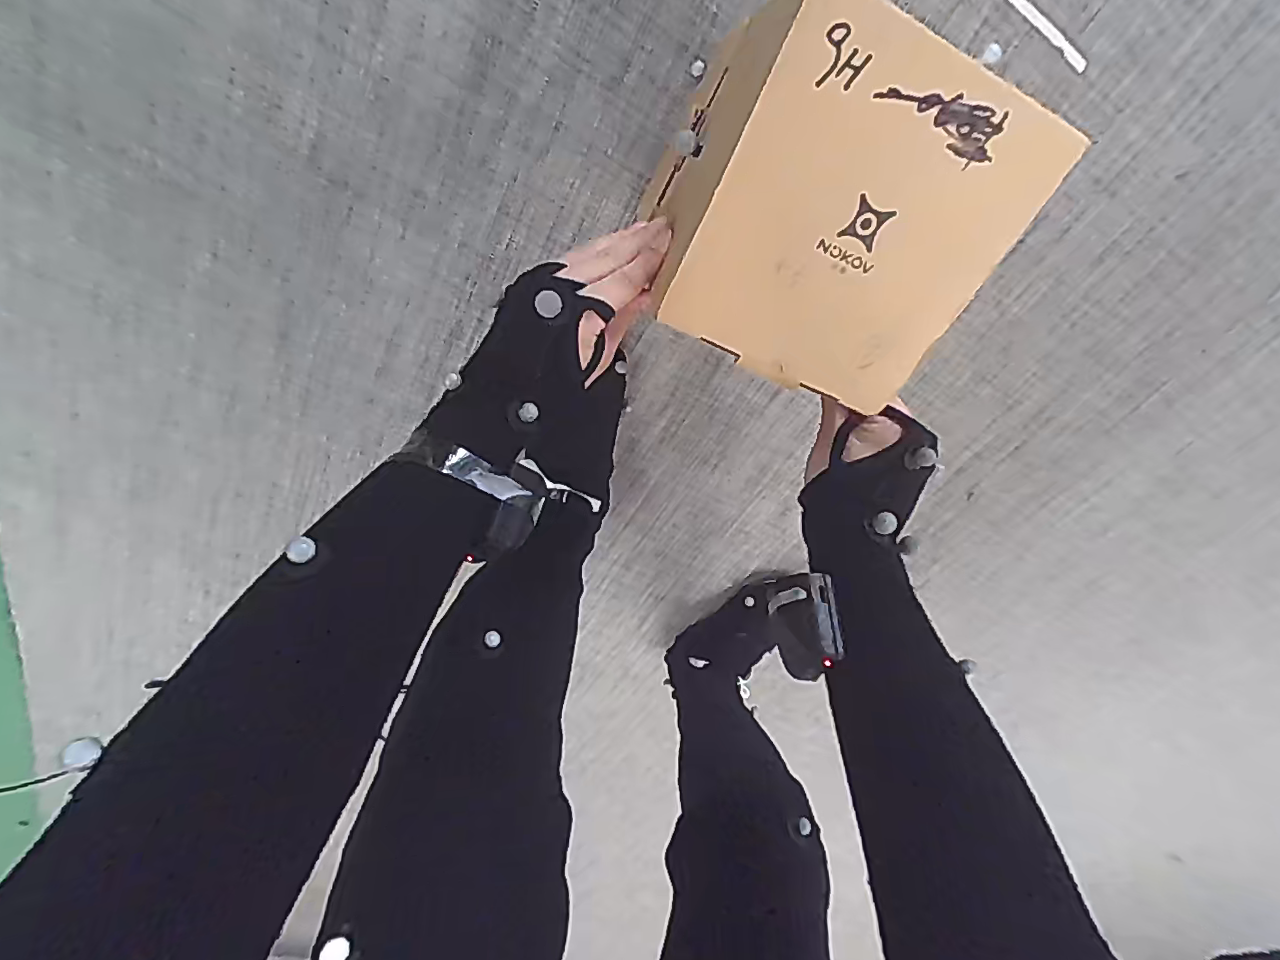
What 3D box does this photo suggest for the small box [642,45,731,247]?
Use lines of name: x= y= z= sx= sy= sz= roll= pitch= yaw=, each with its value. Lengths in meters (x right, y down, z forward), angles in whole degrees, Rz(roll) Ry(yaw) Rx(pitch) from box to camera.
small box: x=0.112 y=-0.269 z=0.501 sx=0.179 sy=0.176 sz=0.168 roll=23 pitch=121 yaw=-17

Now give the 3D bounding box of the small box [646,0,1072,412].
small box: x=0.112 y=-0.181 z=0.363 sx=0.168 sy=0.176 sz=0.179 roll=19 pitch=123 yaw=-15
